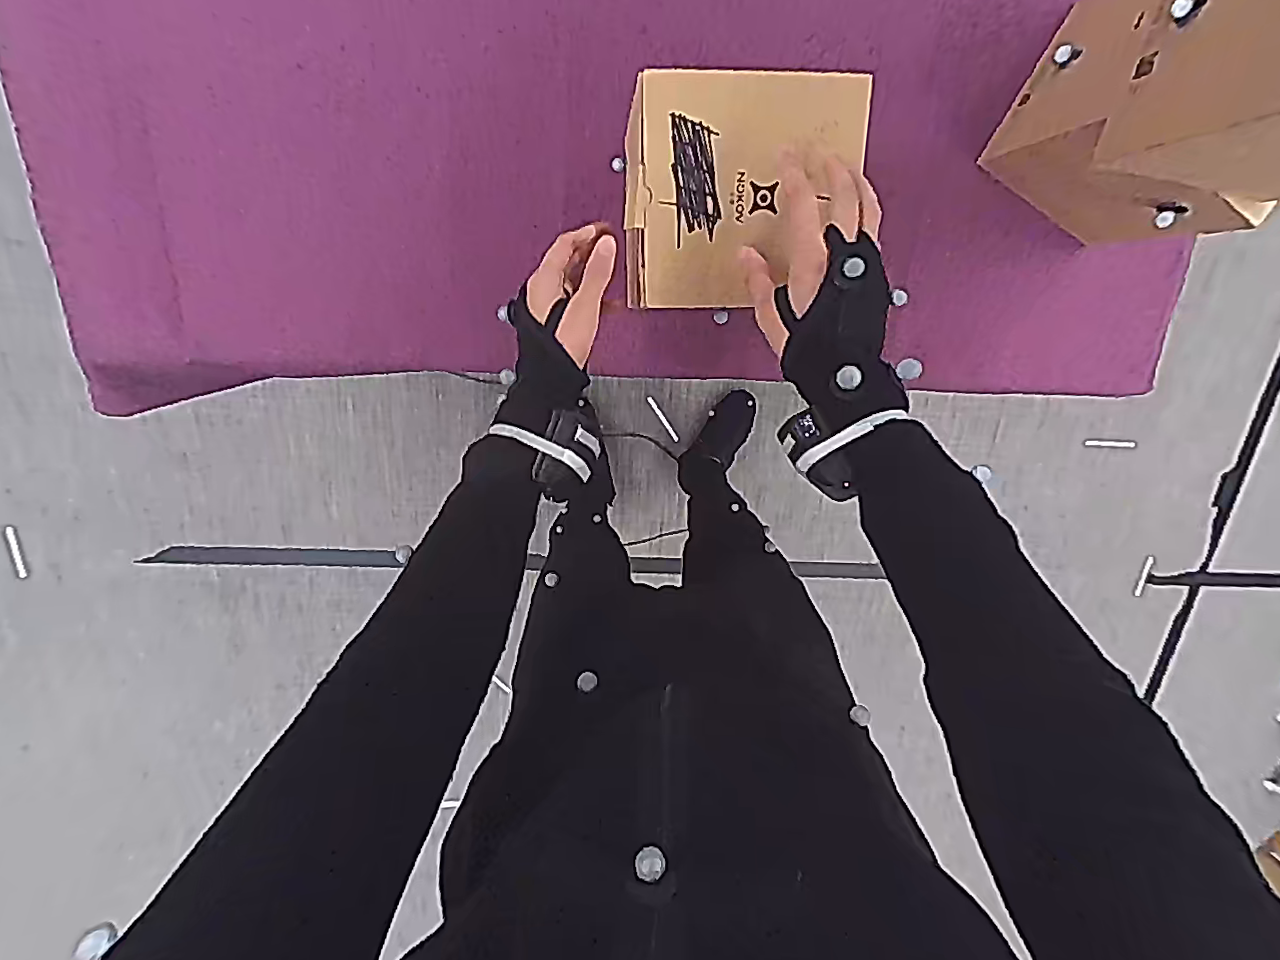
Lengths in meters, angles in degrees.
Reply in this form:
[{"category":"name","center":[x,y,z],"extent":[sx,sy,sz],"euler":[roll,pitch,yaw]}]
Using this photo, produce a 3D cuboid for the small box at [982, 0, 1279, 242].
[{"category":"small box","center":[0.477,-0.340,0.498],"extent":[0.179,0.176,0.168],"euler":[27,104,-13]}]
